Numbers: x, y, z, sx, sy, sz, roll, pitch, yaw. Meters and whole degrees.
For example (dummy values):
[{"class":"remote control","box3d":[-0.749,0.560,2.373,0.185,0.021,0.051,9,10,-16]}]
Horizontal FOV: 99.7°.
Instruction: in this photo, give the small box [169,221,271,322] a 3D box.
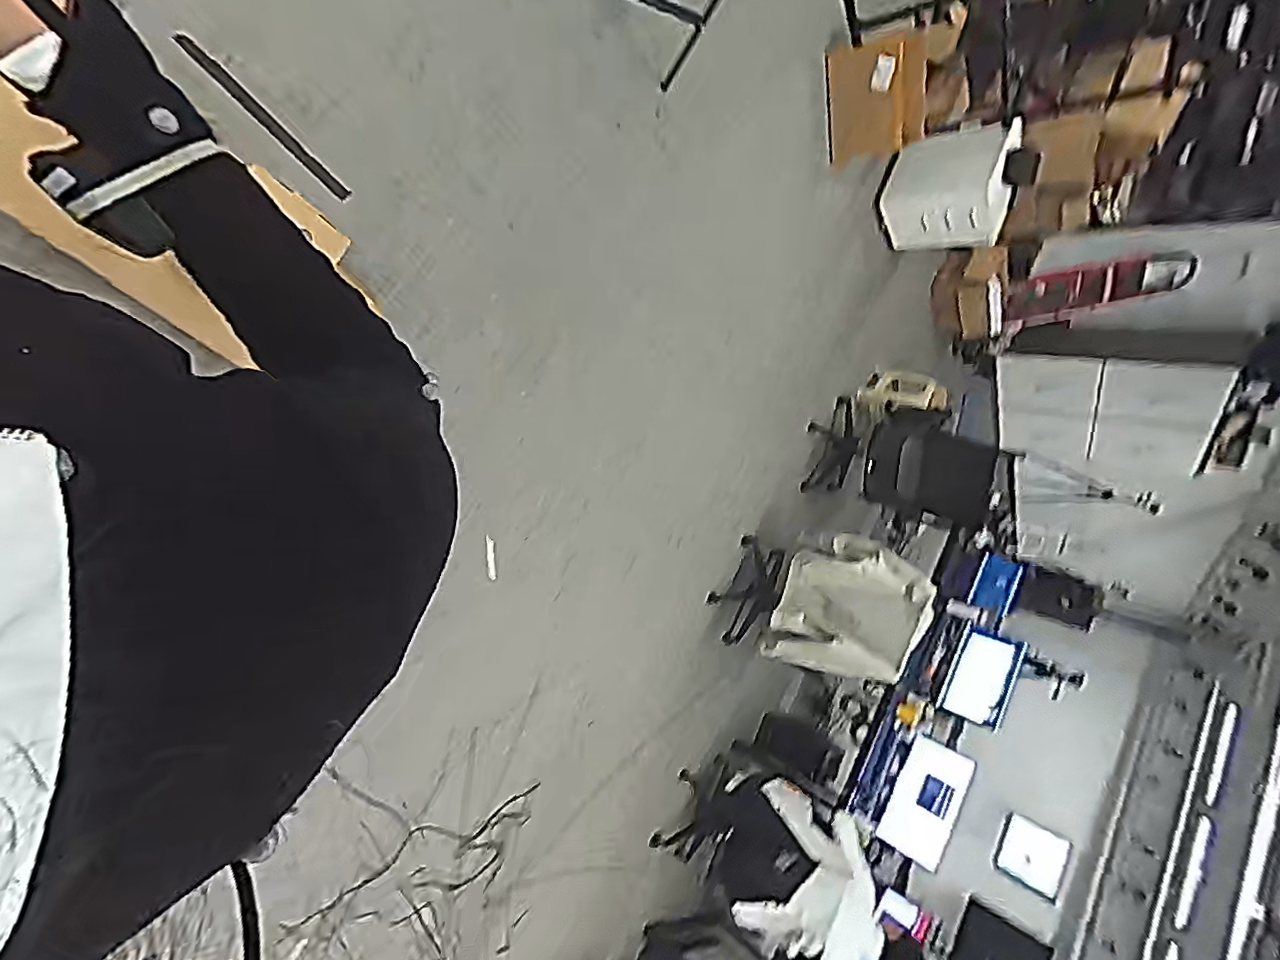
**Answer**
[{"class":"small box","box3d":[-0.762,-0.427,1.042,0.168,0.176,0.179,43,71,-45]}]

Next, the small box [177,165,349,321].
[{"class":"small box","box3d":[-0.649,-0.396,0.927,0.168,0.176,0.179,39,74,-46]}]
